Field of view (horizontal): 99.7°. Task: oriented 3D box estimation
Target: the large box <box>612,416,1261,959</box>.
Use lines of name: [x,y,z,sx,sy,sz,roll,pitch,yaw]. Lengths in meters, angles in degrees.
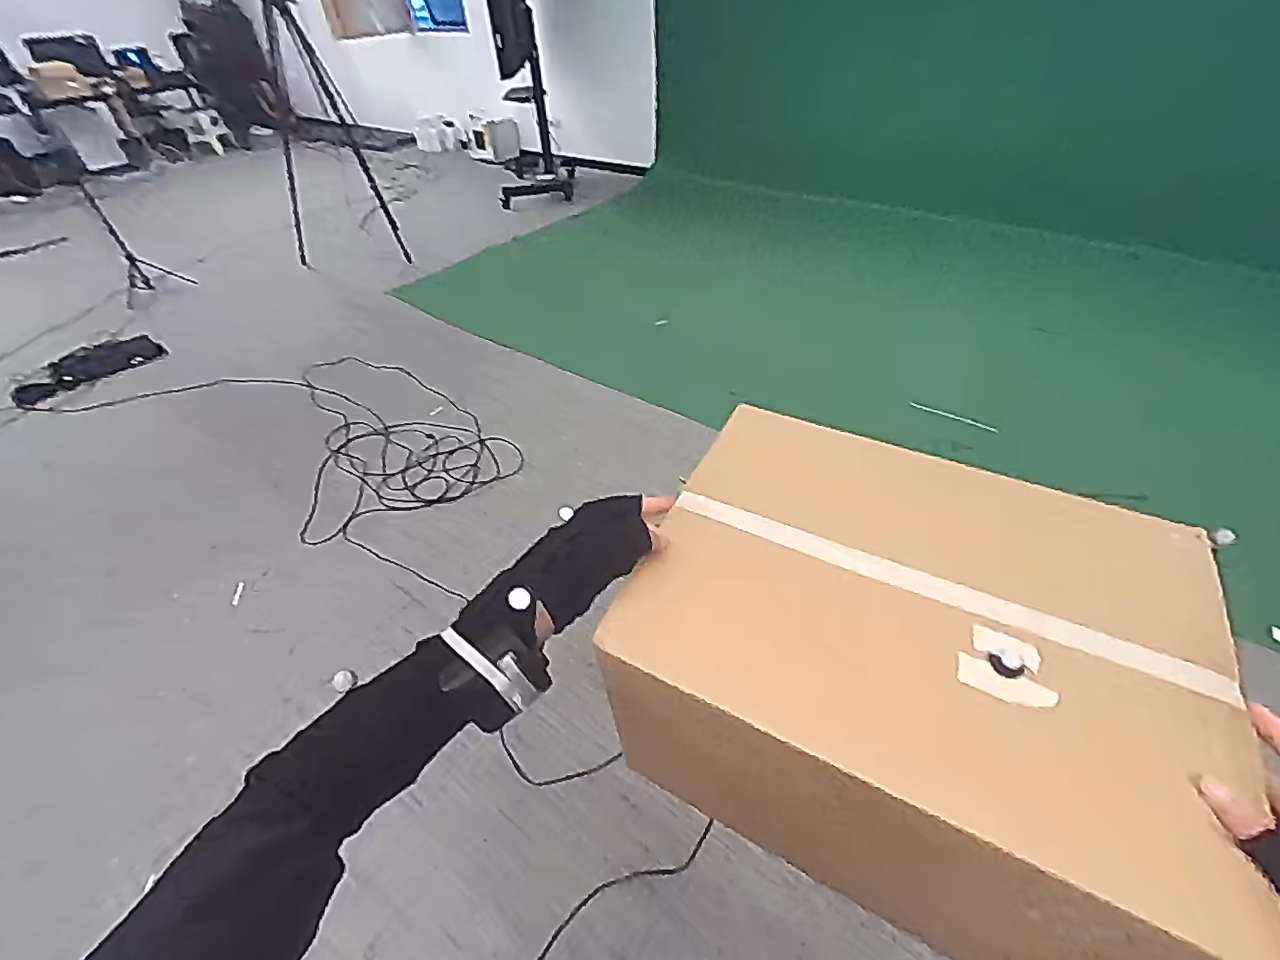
large box: [0.224,0.189,0.546,0.408,0.320,0.320,20,51,21]
